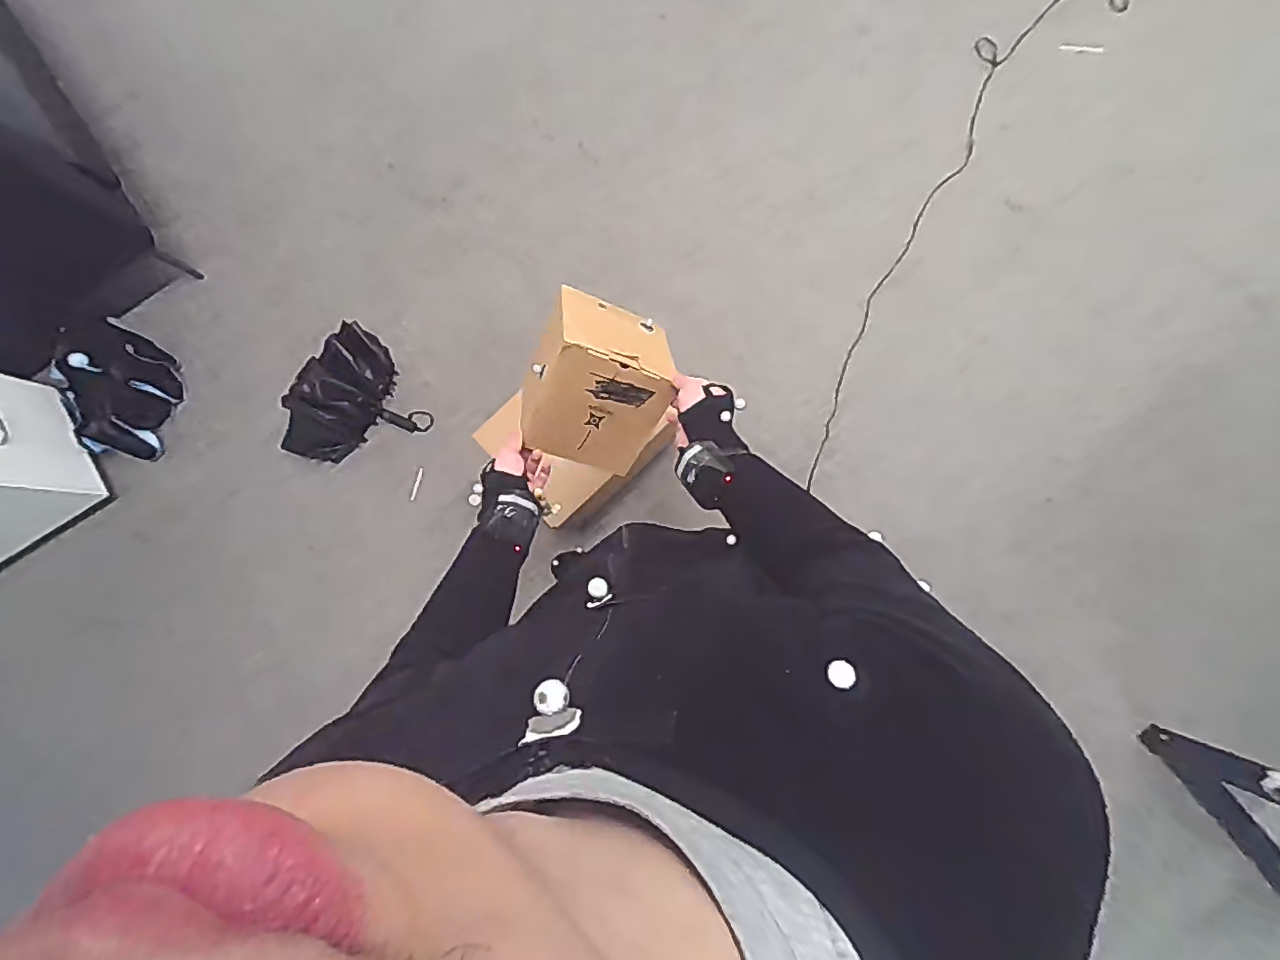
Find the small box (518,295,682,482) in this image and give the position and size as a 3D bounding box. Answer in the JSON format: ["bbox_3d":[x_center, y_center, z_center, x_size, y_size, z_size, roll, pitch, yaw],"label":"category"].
[{"bbox_3d":[-0.066,-0.131,0.765,0.168,0.176,0.179,17,127,-23],"label":"small box"}]
